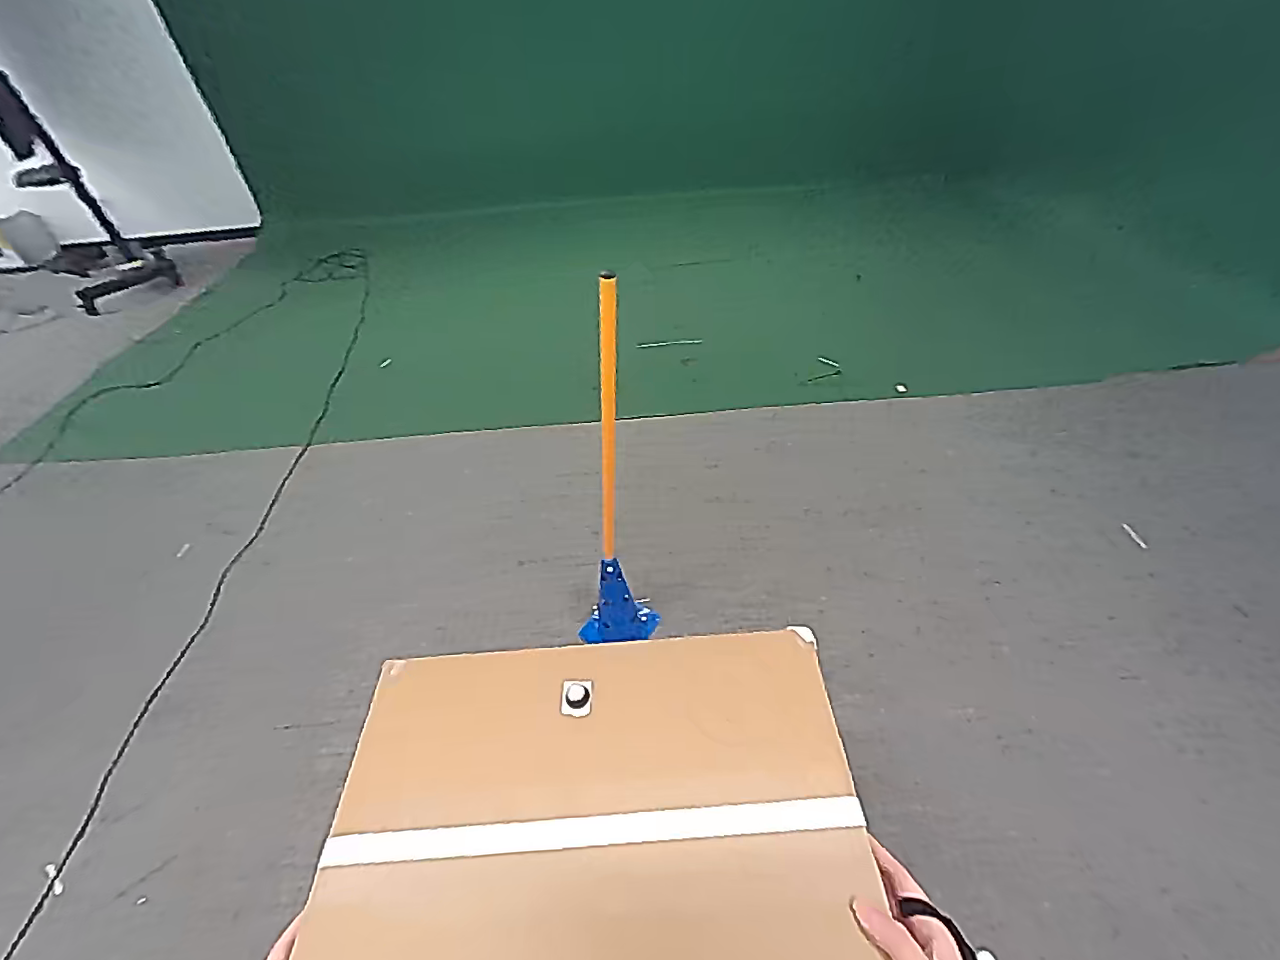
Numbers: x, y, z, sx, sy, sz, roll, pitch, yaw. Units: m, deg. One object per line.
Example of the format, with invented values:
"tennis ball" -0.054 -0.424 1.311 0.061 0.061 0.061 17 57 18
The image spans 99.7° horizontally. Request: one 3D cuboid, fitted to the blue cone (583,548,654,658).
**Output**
"blue cone" -0.075 0.331 1.589 0.192 0.380 0.193 20 48 23
